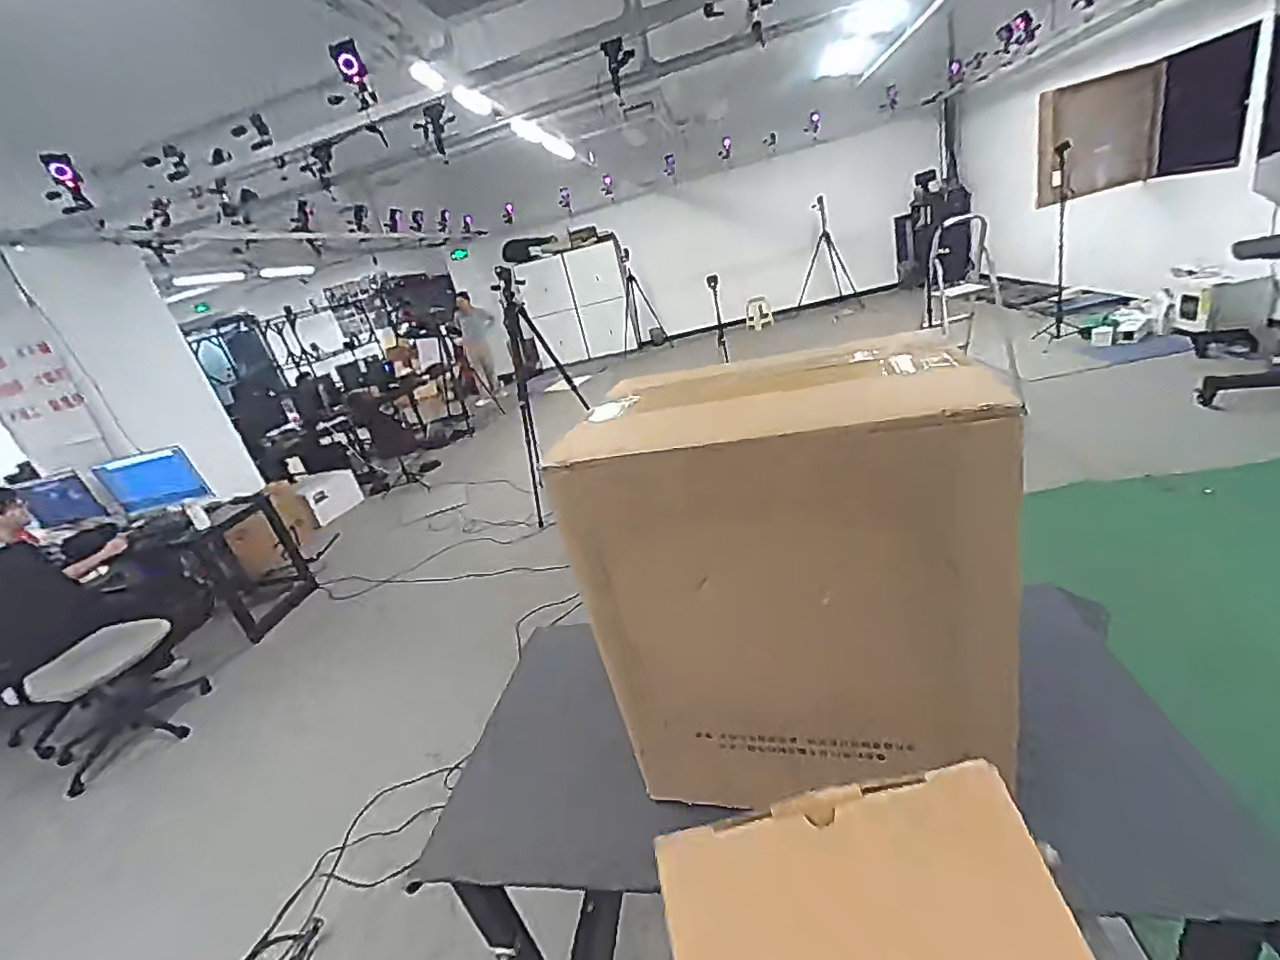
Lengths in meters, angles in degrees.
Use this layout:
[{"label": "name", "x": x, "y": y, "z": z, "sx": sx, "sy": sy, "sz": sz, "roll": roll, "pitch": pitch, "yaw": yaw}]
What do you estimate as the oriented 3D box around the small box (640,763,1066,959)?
[{"label": "small box", "x": 0.113, "y": 0.264, "z": 0.274, "sx": 0.168, "sy": 0.176, "sz": 0.179, "roll": -17, "pitch": 53, "yaw": 7}]
